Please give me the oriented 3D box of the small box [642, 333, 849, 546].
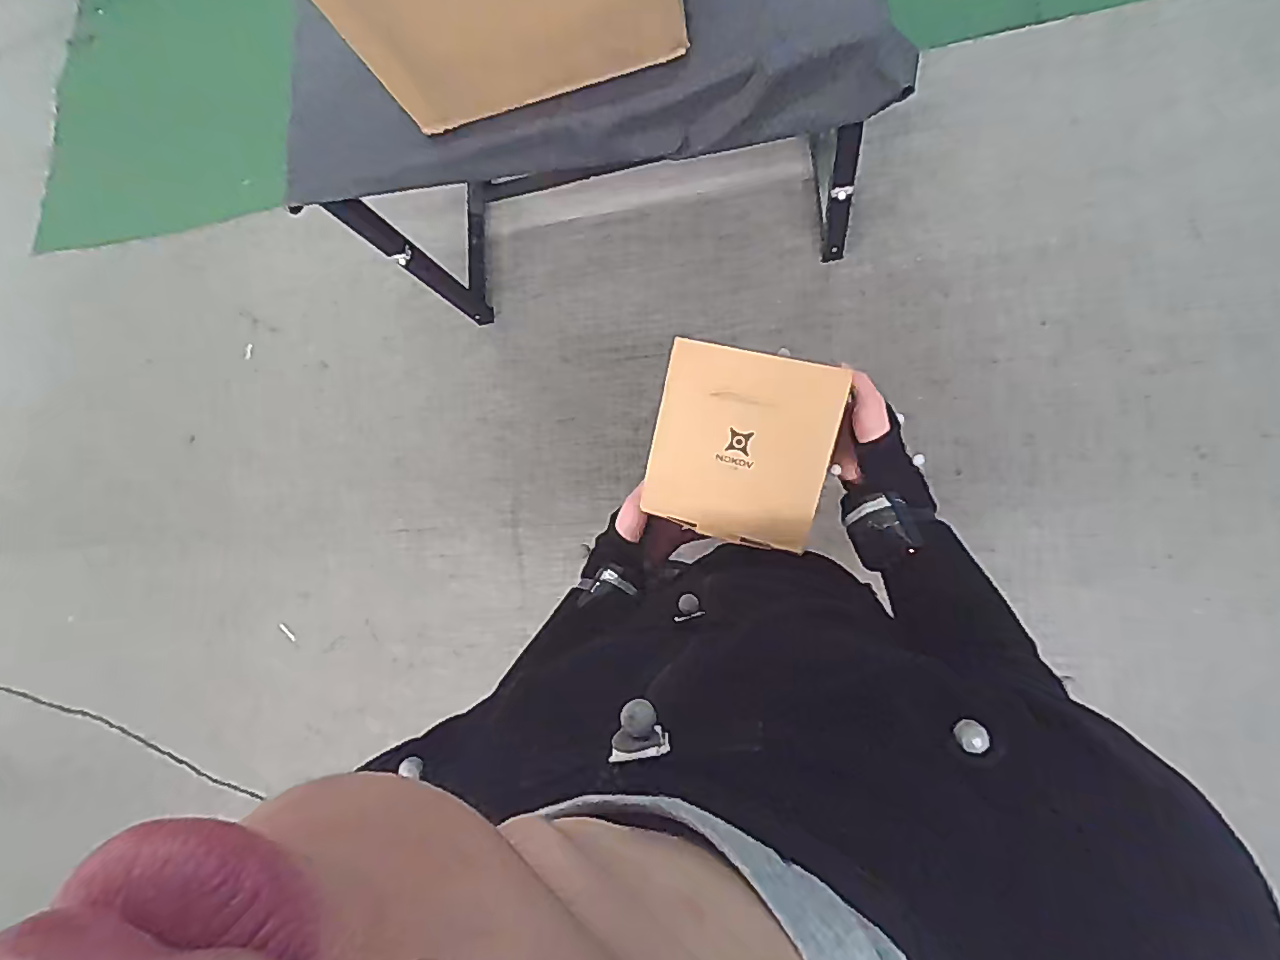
[{"bbox_3d":[0.115,-0.049,0.587,0.168,0.176,0.179,14,101,13],"label":"small box"}]
